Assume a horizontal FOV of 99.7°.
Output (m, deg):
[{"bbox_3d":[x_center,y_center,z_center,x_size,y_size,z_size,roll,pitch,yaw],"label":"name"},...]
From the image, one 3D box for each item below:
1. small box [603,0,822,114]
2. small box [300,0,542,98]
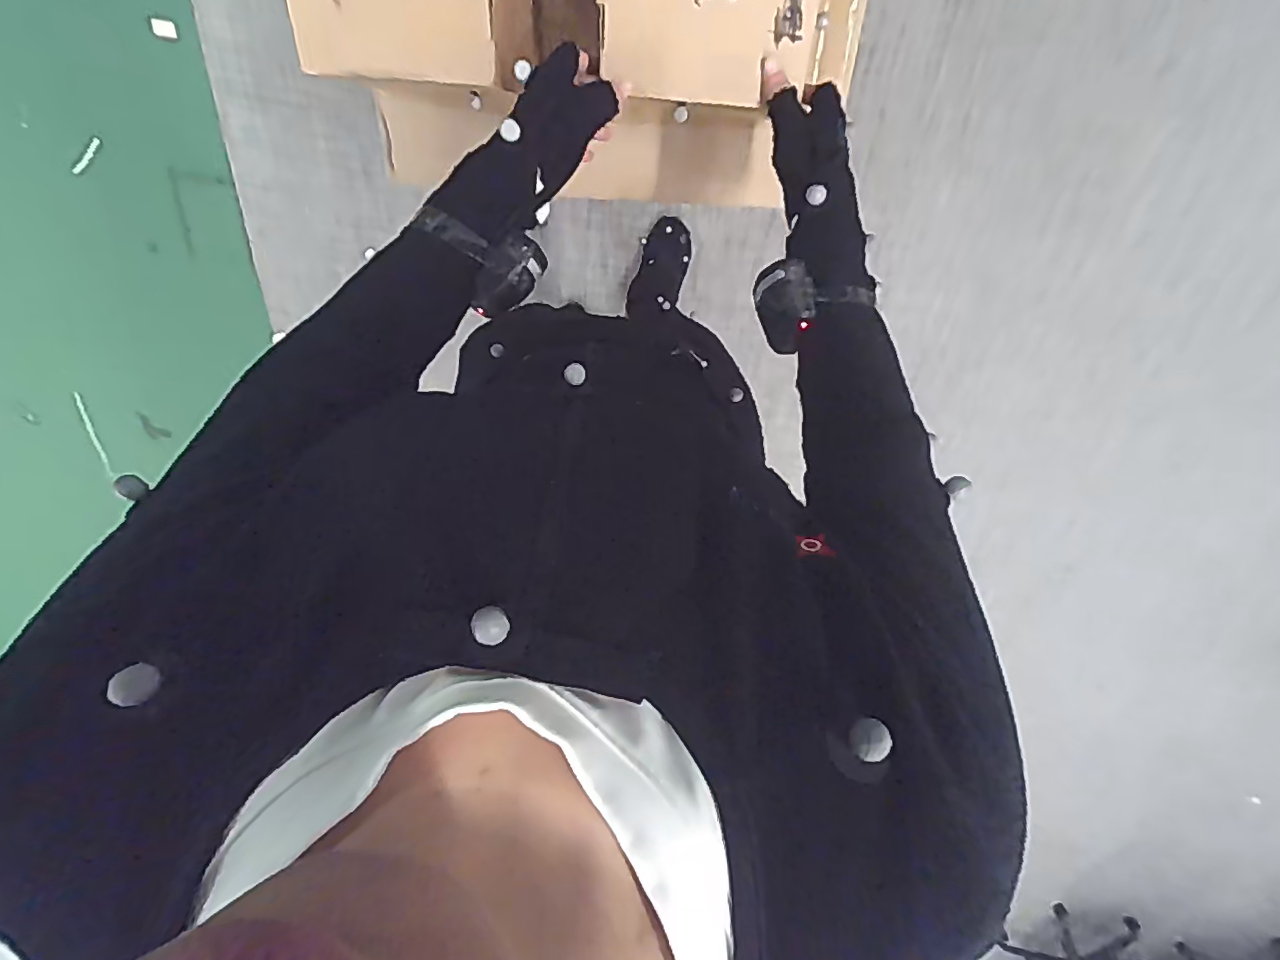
[{"bbox_3d":[0.068,-0.443,0.494,0.179,0.176,0.168,6,122,1],"label":"small box"},{"bbox_3d":[-0.193,-0.465,0.502,0.179,0.176,0.168,3,121,3],"label":"small box"}]
